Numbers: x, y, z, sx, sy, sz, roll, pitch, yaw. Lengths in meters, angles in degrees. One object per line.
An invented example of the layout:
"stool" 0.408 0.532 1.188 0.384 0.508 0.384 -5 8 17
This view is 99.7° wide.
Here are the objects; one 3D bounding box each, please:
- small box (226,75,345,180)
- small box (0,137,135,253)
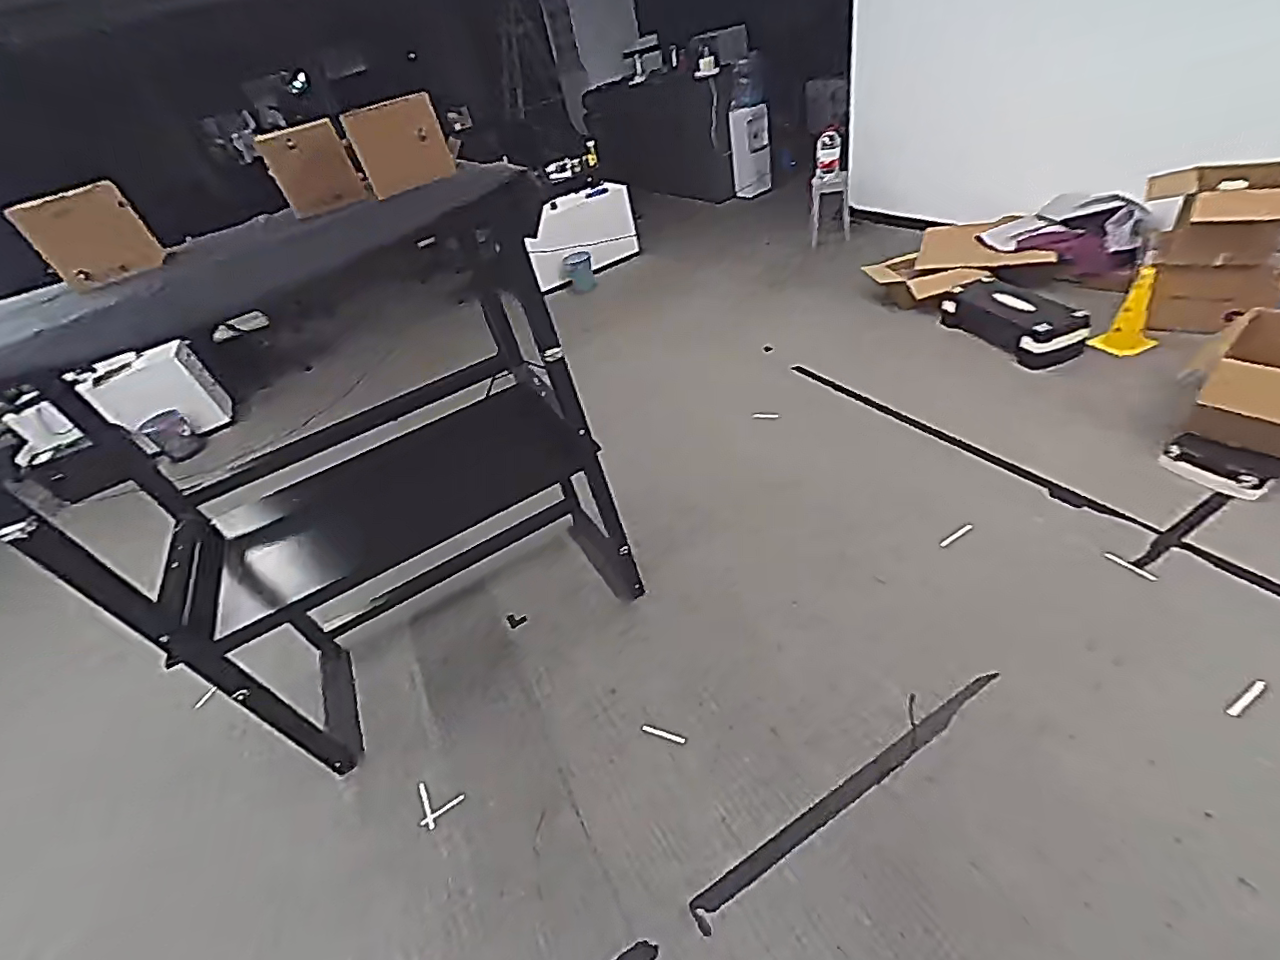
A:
"small box" -0.811 -0.812 1.251 0.168 0.176 0.179 -29 42 -14
"small box" -1.208 -0.591 1.123 0.168 0.176 0.179 -31 42 -18
